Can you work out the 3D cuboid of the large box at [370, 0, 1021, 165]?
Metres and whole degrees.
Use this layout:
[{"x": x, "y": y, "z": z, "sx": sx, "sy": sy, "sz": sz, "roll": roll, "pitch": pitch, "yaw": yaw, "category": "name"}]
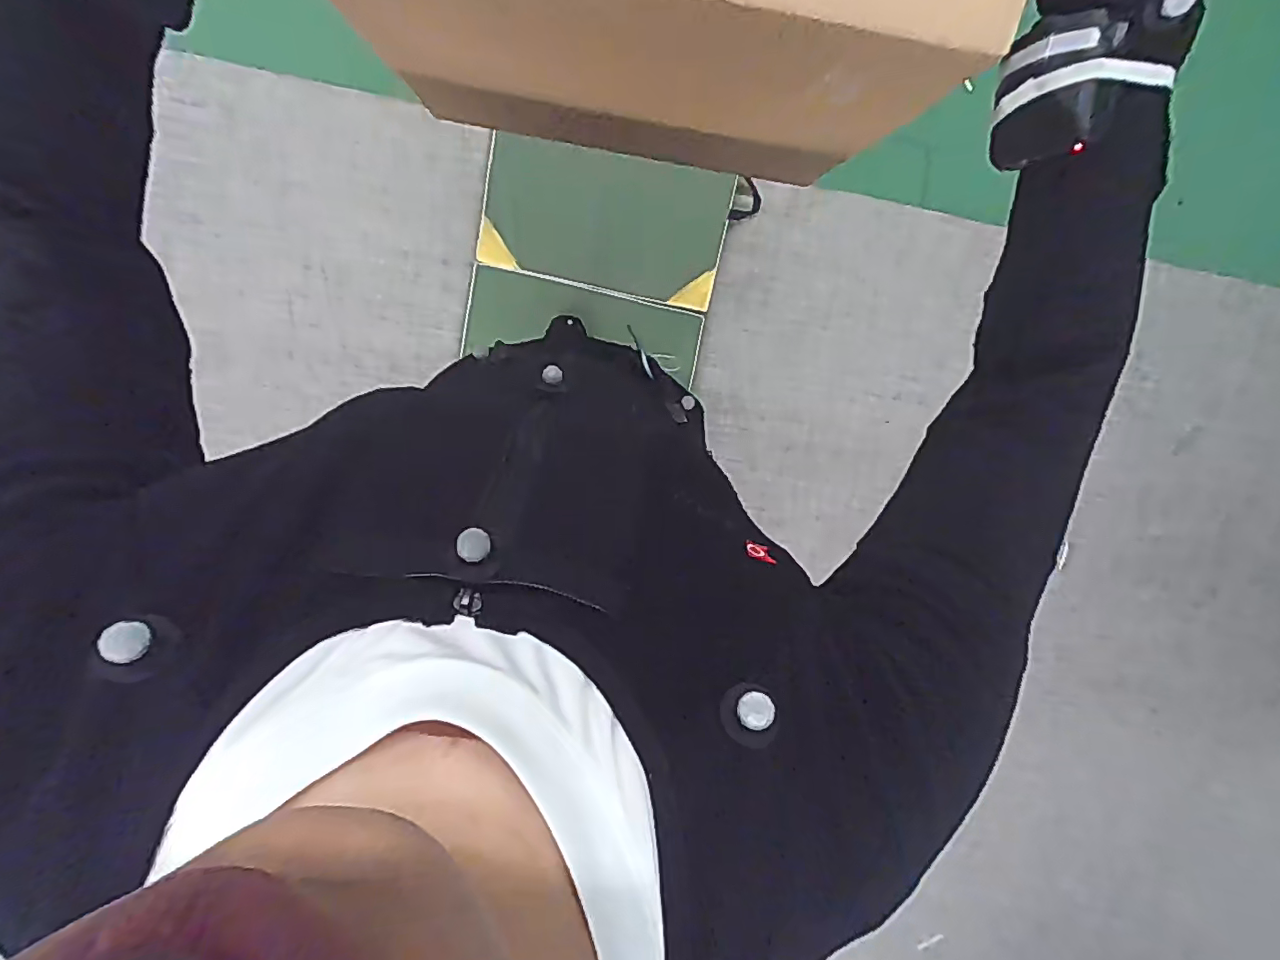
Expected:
[{"x": 0.022, "y": -0.461, "z": 0.384, "sx": 0.408, "sy": 0.320, "sz": 0.320, "roll": 7, "pitch": 107, "yaw": -7, "category": "large box"}]
